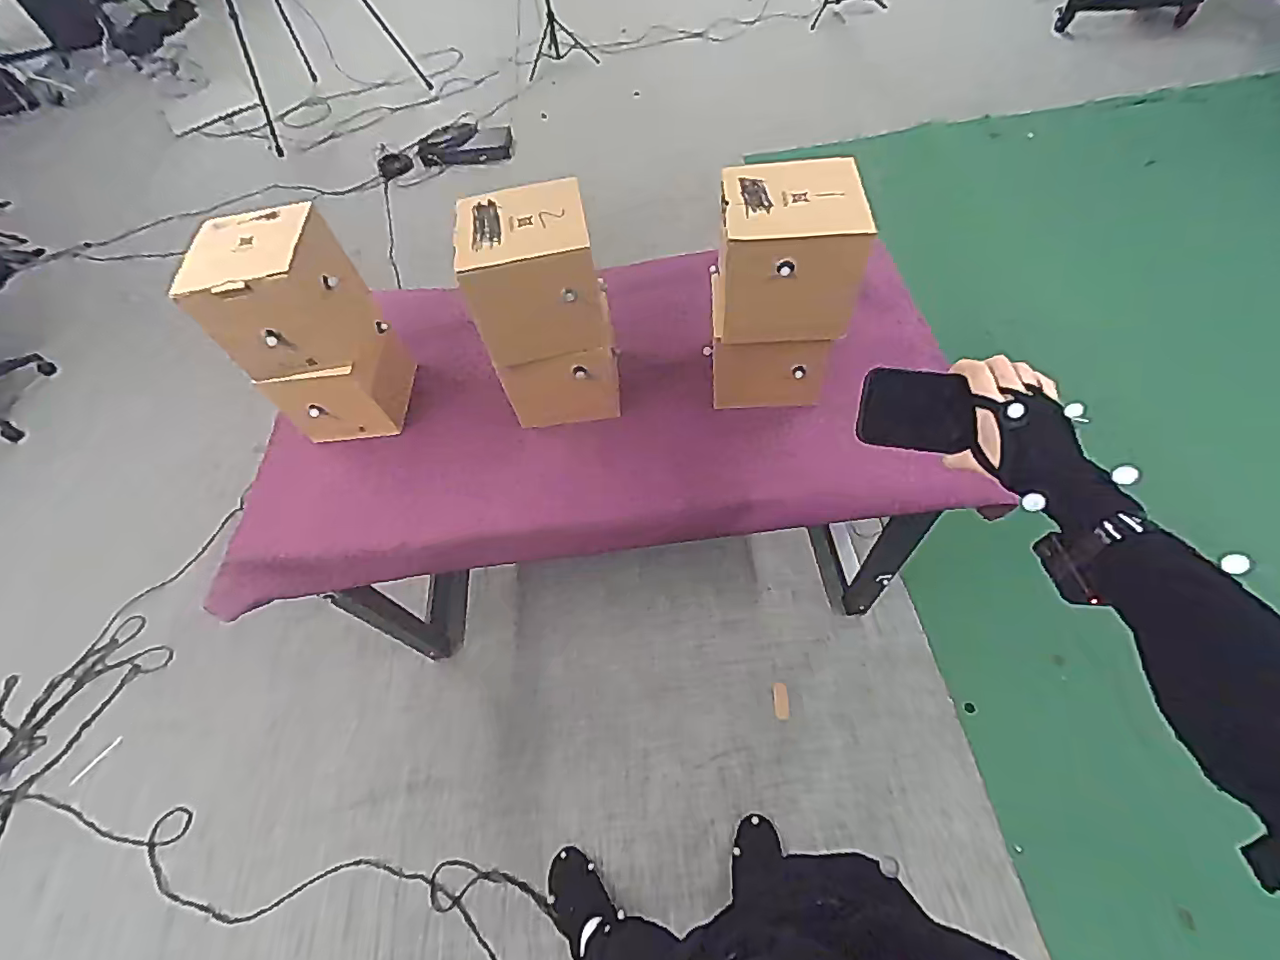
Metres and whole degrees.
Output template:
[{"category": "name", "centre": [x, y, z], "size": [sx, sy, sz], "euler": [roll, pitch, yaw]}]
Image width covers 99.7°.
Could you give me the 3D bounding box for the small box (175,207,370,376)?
[{"category": "small box", "centre": [-0.538, -0.276, 0.824], "size": [0.168, 0.176, 0.179], "euler": [-10, 58, 1]}]

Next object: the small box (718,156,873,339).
[{"category": "small box", "centre": [0.198, -0.311, 0.743], "size": [0.179, 0.176, 0.168], "euler": [-1, 57, 7]}]

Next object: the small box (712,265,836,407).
[{"category": "small box", "centre": [0.209, -0.235, 0.889], "size": [0.179, 0.176, 0.168], "euler": [-2, 57, 8]}]

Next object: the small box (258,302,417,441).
[{"category": "small box", "centre": [-0.518, -0.182, 0.957], "size": [0.168, 0.176, 0.179], "euler": [-6, 57, 4]}]

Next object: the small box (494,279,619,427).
[{"category": "small box", "centre": [-0.130, -0.210, 0.918], "size": [0.179, 0.176, 0.168], "euler": [-7, 57, 4]}]
